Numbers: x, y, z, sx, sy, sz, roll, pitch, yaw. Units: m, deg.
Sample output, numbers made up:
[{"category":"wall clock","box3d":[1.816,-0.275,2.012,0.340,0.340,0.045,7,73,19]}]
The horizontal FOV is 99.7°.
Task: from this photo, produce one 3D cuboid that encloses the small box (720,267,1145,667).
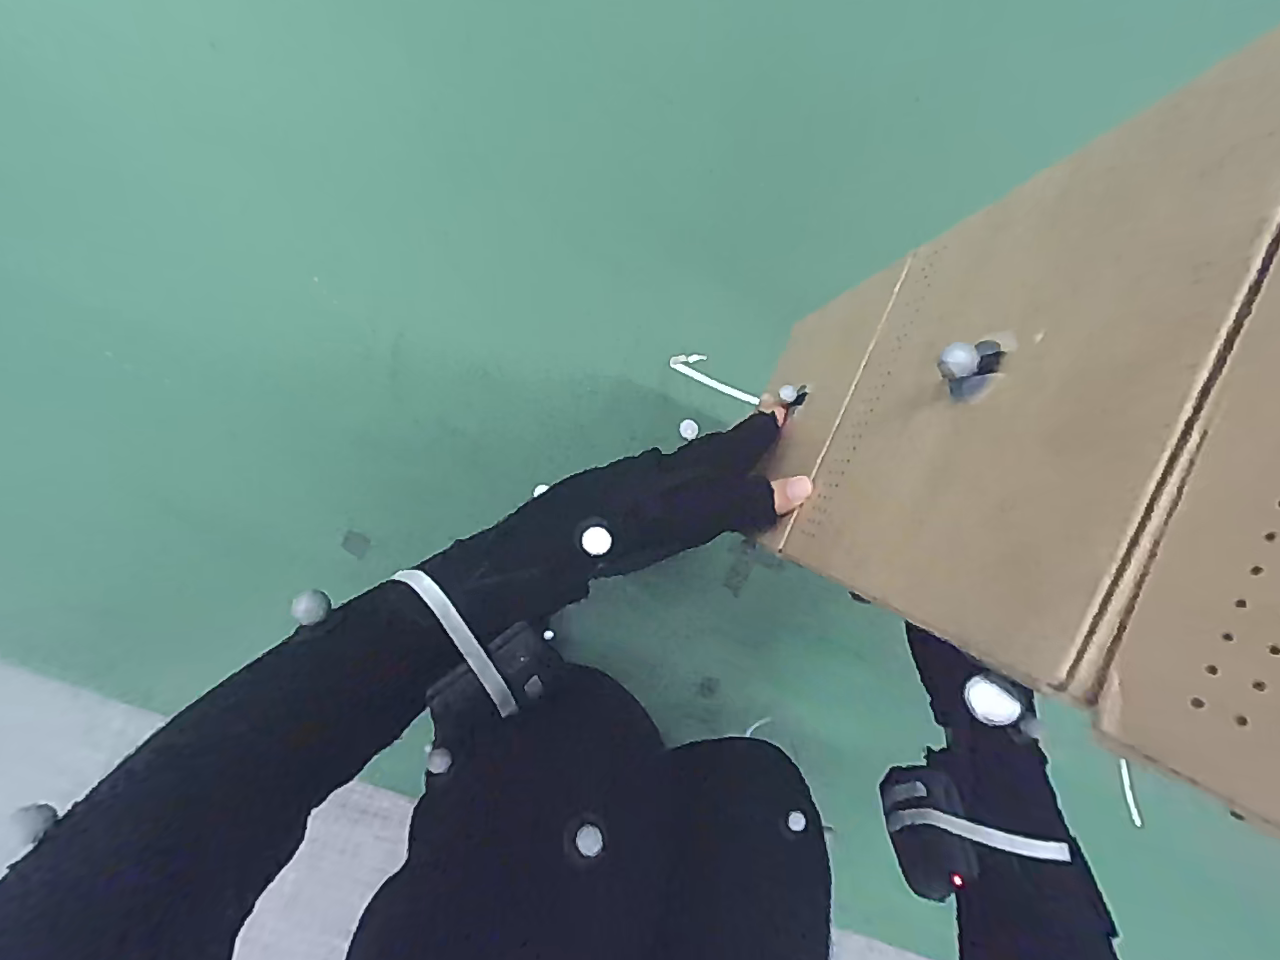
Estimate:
[{"category":"small box","box3d":[0.170,-0.007,0.377,0.168,0.176,0.179,24,90,-7]}]
